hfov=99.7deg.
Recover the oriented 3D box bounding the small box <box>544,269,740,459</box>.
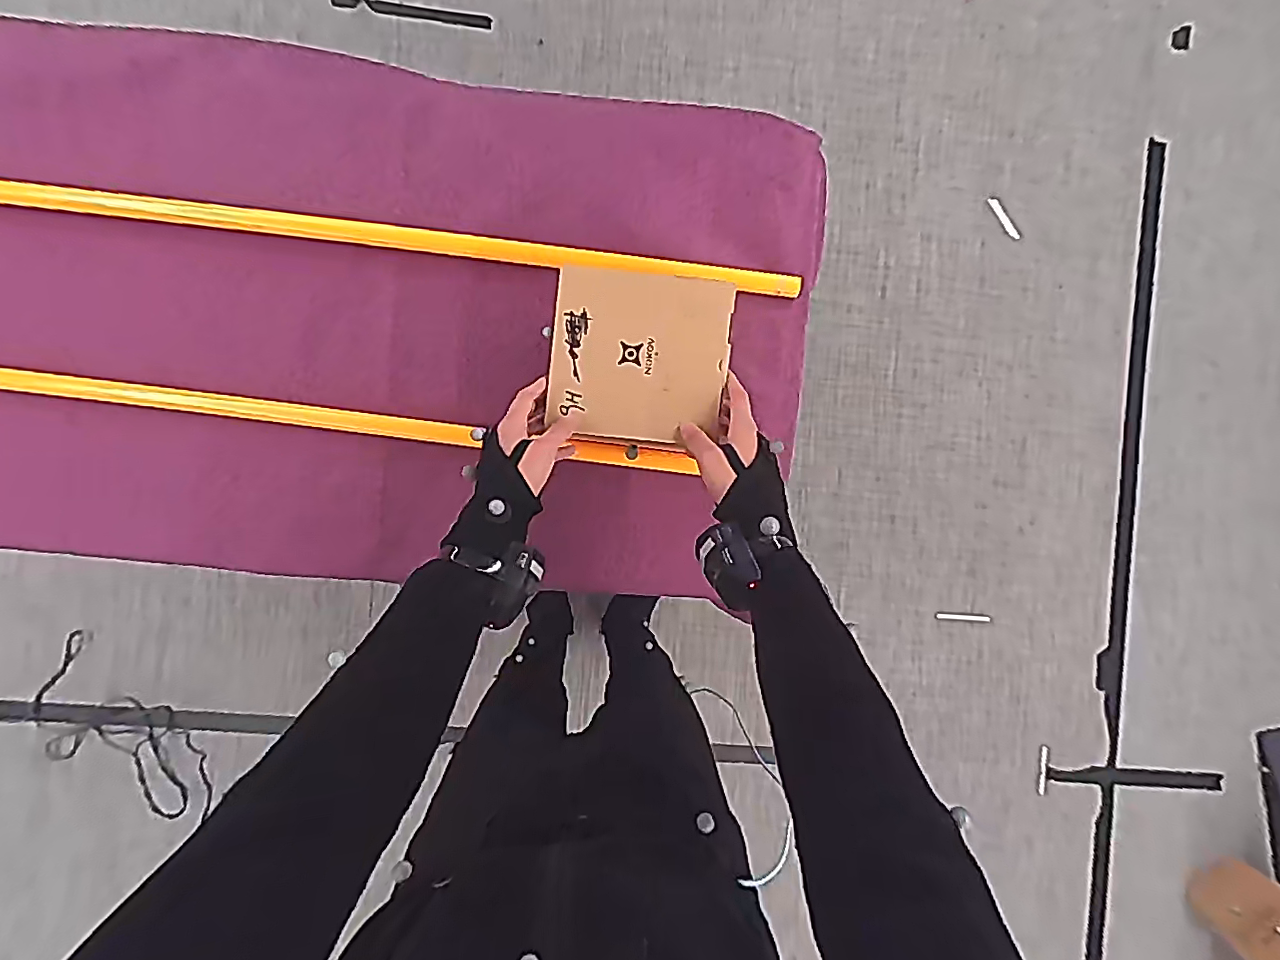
[{"bbox_3d":[0.001,-0.115,0.606,0.179,0.176,0.168,7,91,0],"label":"small box"}]
